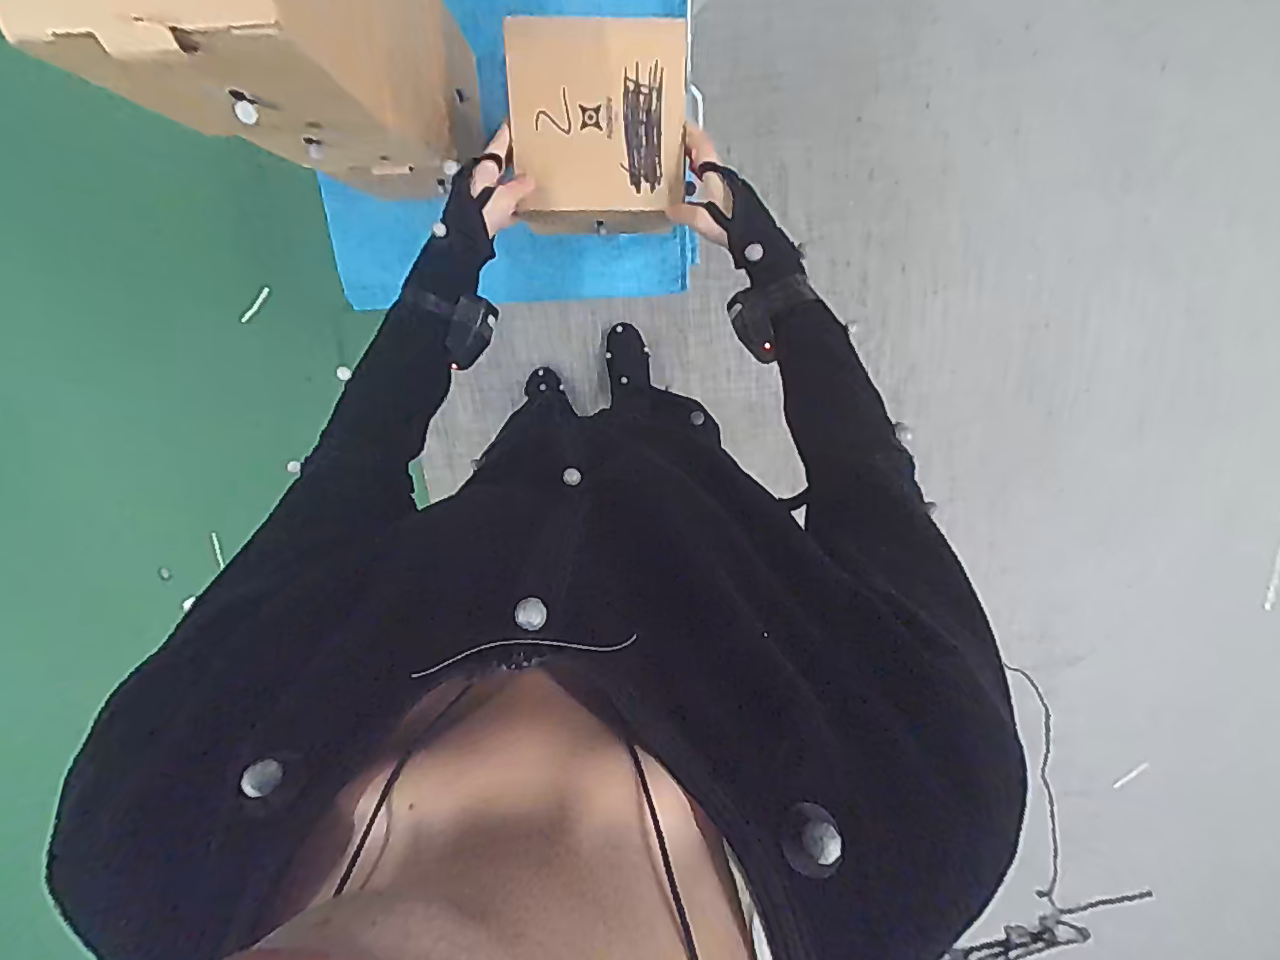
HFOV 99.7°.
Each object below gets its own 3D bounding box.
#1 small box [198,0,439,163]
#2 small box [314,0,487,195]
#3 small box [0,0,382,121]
[{"bbox_3d":[-0.307,-0.422,0.522,0.168,0.176,0.179,-1,105,-2],"label":"small box"},{"bbox_3d":[-0.298,-0.468,0.678,0.168,0.176,0.179,-2,105,-1],"label":"small box"},{"bbox_3d":[-0.298,-0.367,0.367,0.168,0.176,0.179,-1,106,-2],"label":"small box"}]
